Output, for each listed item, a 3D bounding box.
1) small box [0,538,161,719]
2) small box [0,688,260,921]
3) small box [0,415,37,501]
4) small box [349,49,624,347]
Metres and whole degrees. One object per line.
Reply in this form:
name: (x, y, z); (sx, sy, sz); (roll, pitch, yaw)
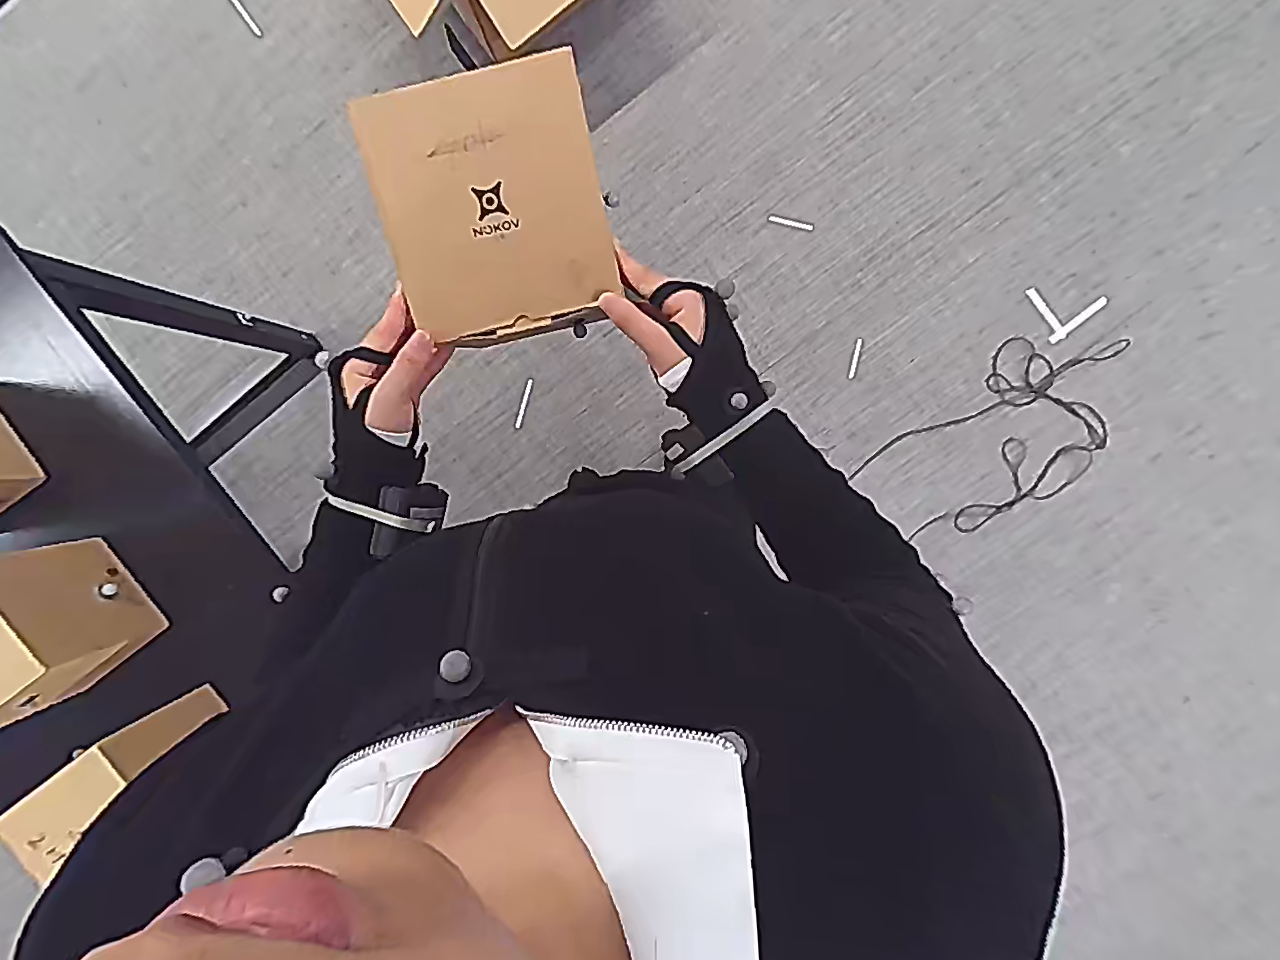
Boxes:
small box: (-0.814, 0.201, 0.719); (0.179, 0.176, 0.168); (-36, 93, 4)
small box: (-0.664, 0.419, 0.731); (0.179, 0.176, 0.168); (-36, 92, 4)
small box: (-0.978, -0.028, 0.706); (0.168, 0.176, 0.179); (-34, 94, 4)
small box: (-0.111, -0.222, 0.477); (0.168, 0.176, 0.179); (-13, 103, 2)
